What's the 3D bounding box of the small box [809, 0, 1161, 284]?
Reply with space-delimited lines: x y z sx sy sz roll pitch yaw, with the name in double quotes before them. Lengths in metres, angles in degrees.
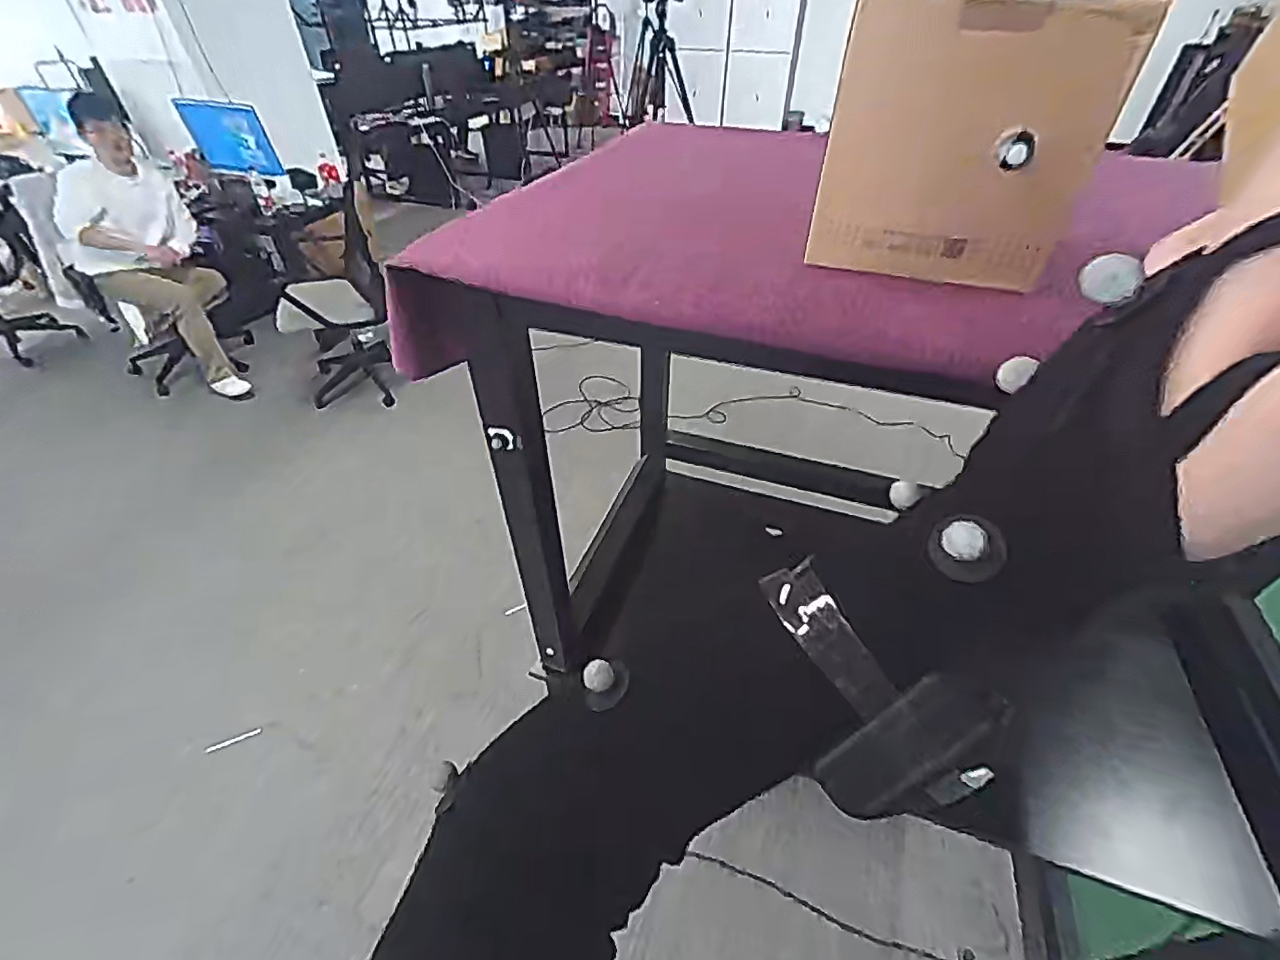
"small box" 0.239 -0.268 0.420 0.168 0.176 0.179 16 43 16
